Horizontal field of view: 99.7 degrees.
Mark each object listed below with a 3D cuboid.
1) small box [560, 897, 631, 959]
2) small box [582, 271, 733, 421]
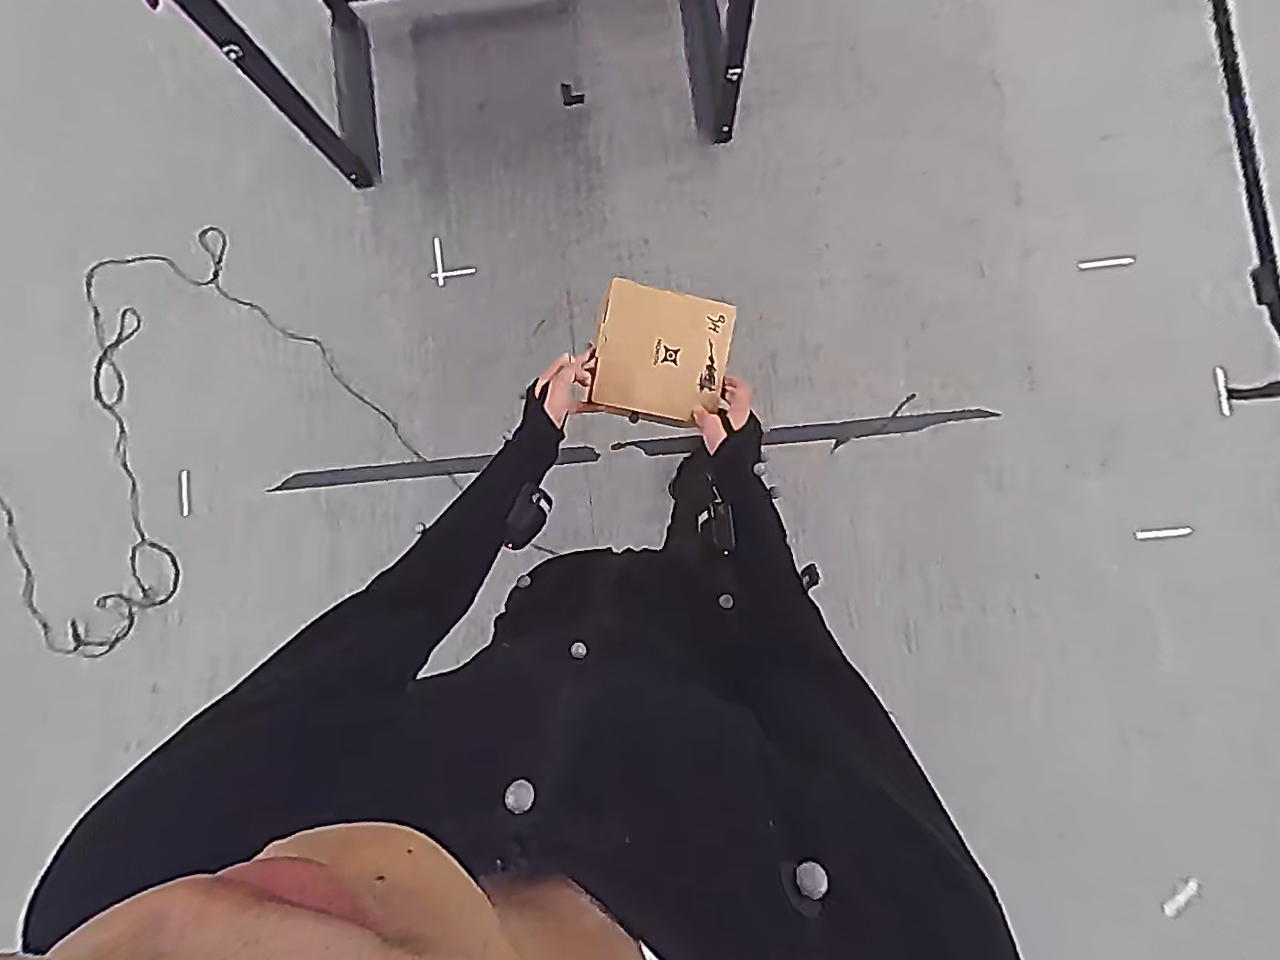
[{"bbox_3d":[-0.115,1.277,1.458,0.168,0.176,0.179,-6,85,1],"label":"small box"},{"bbox_3d":[0.015,-0.181,0.792,0.179,0.176,0.168,10,93,-10],"label":"small box"}]
